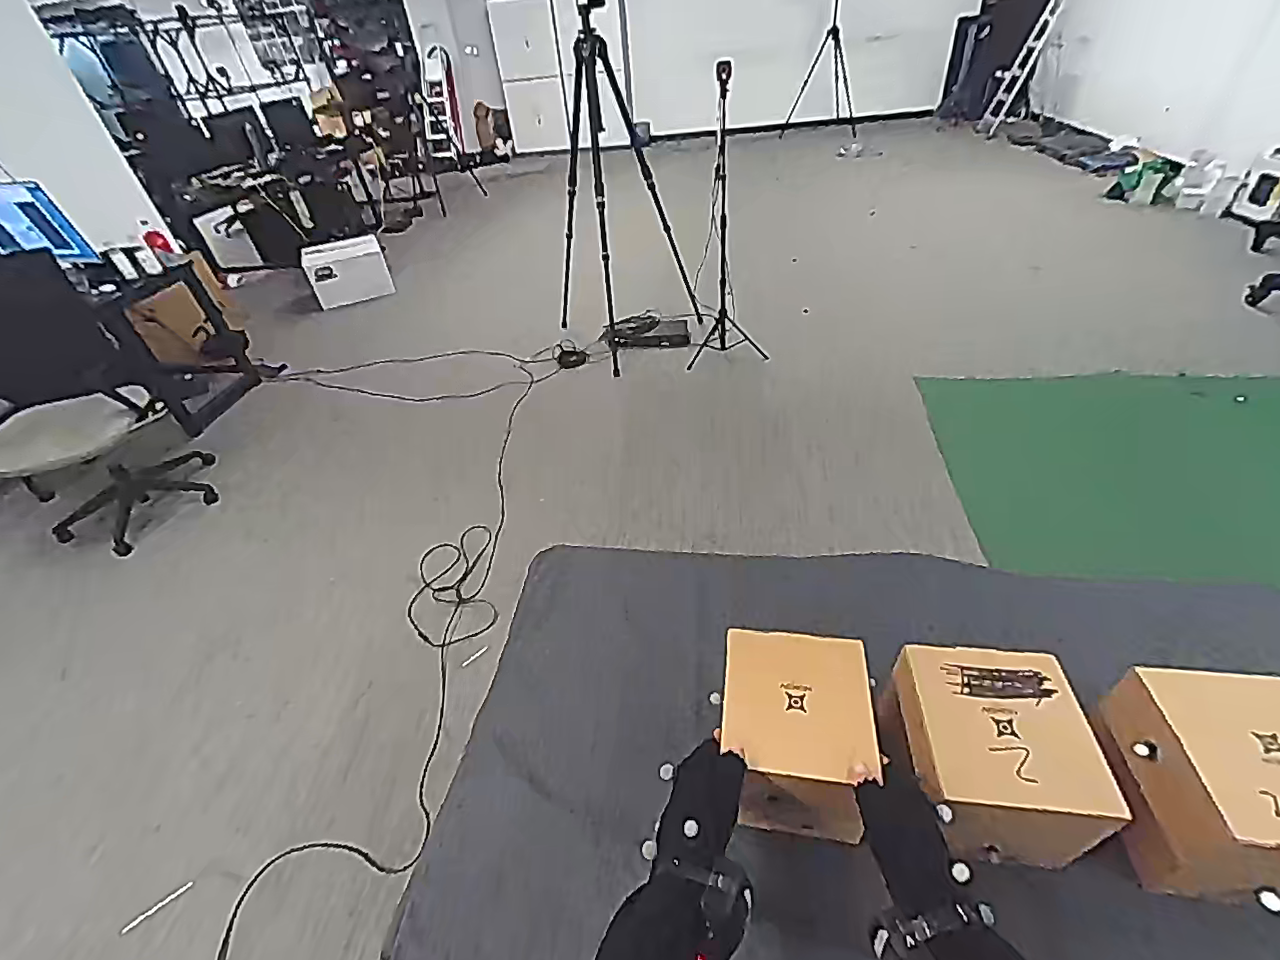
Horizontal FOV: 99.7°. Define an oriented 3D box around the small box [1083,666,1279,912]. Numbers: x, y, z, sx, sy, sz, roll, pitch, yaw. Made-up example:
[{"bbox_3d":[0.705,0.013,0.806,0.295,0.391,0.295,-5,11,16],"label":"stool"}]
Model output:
[{"bbox_3d":[0.632,0.329,0.582,0.168,0.176,0.179,1,40,11],"label":"small box"}]
